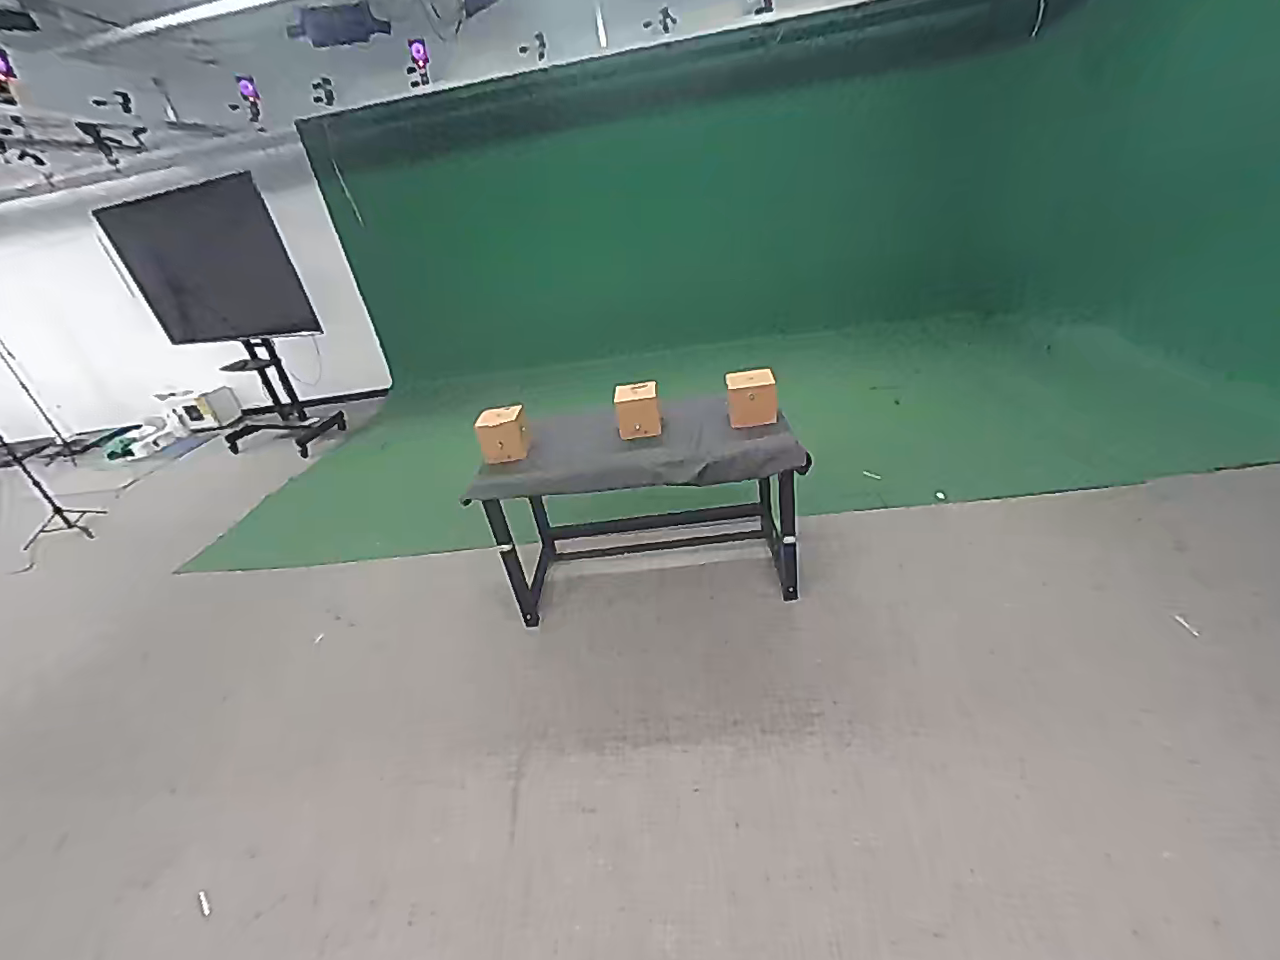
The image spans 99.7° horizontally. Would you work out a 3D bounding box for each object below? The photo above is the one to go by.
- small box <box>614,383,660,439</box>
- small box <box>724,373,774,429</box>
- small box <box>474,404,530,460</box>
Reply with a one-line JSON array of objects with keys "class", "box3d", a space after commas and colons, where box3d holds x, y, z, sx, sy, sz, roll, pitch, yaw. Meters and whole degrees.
[{"class": "small box", "box3d": [-0.010, -0.282, 2.210, 0.168, 0.176, 0.179, -7, 30, 5]}, {"class": "small box", "box3d": [0.431, -0.311, 2.137, 0.179, 0.176, 0.168, -5, 31, 6]}, {"class": "small box", "box3d": [-0.554, -0.191, 2.201, 0.168, 0.176, 0.179, -7, 30, 2]}]
